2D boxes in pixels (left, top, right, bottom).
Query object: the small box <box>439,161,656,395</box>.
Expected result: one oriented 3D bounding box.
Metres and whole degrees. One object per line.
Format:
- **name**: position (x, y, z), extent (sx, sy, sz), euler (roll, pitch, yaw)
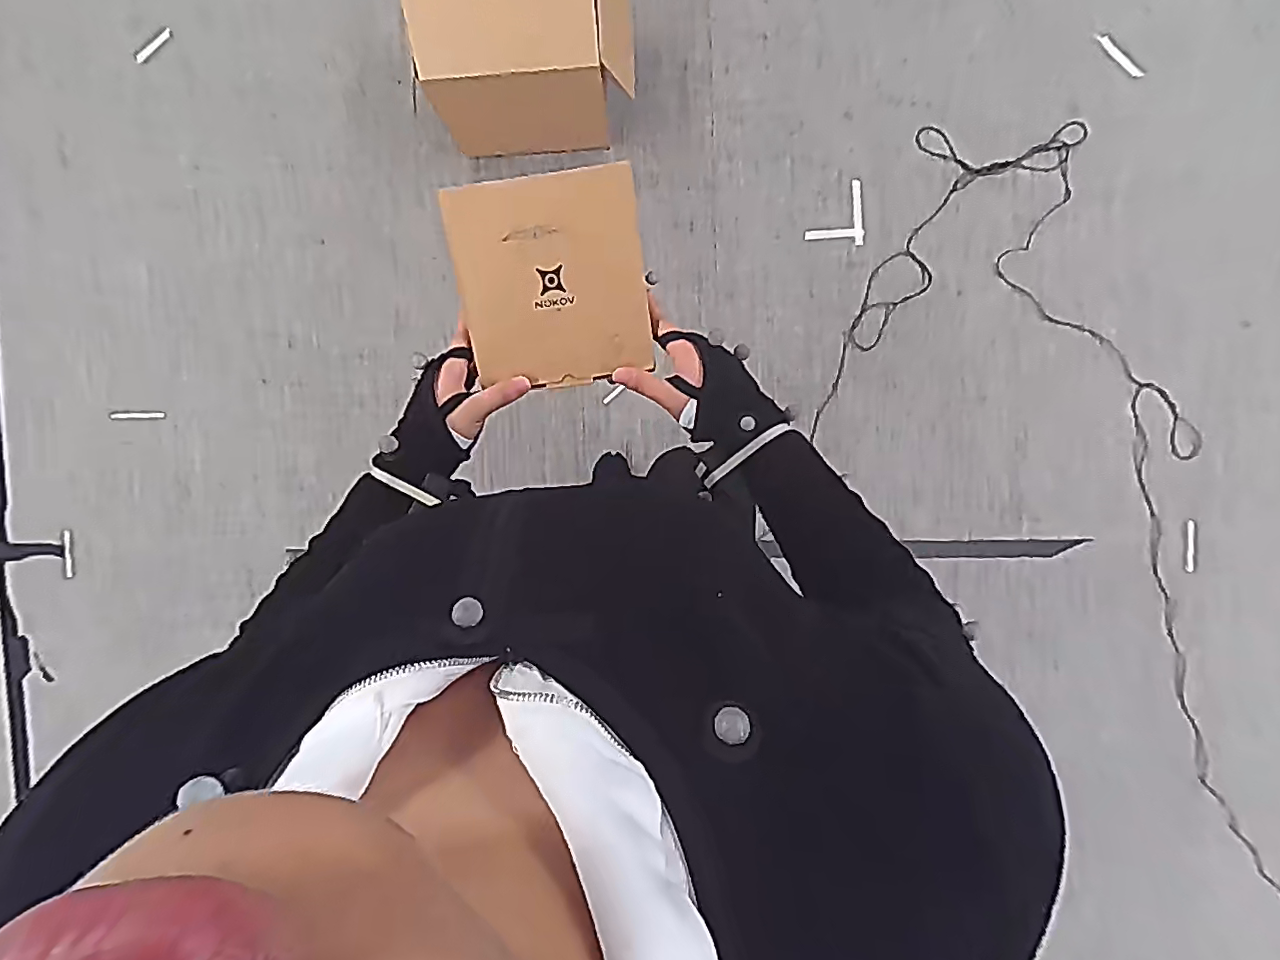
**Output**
- **small box**: position (-0.076, -0.194, 0.545), extent (0.168, 0.176, 0.179), euler (-8, 107, 1)
